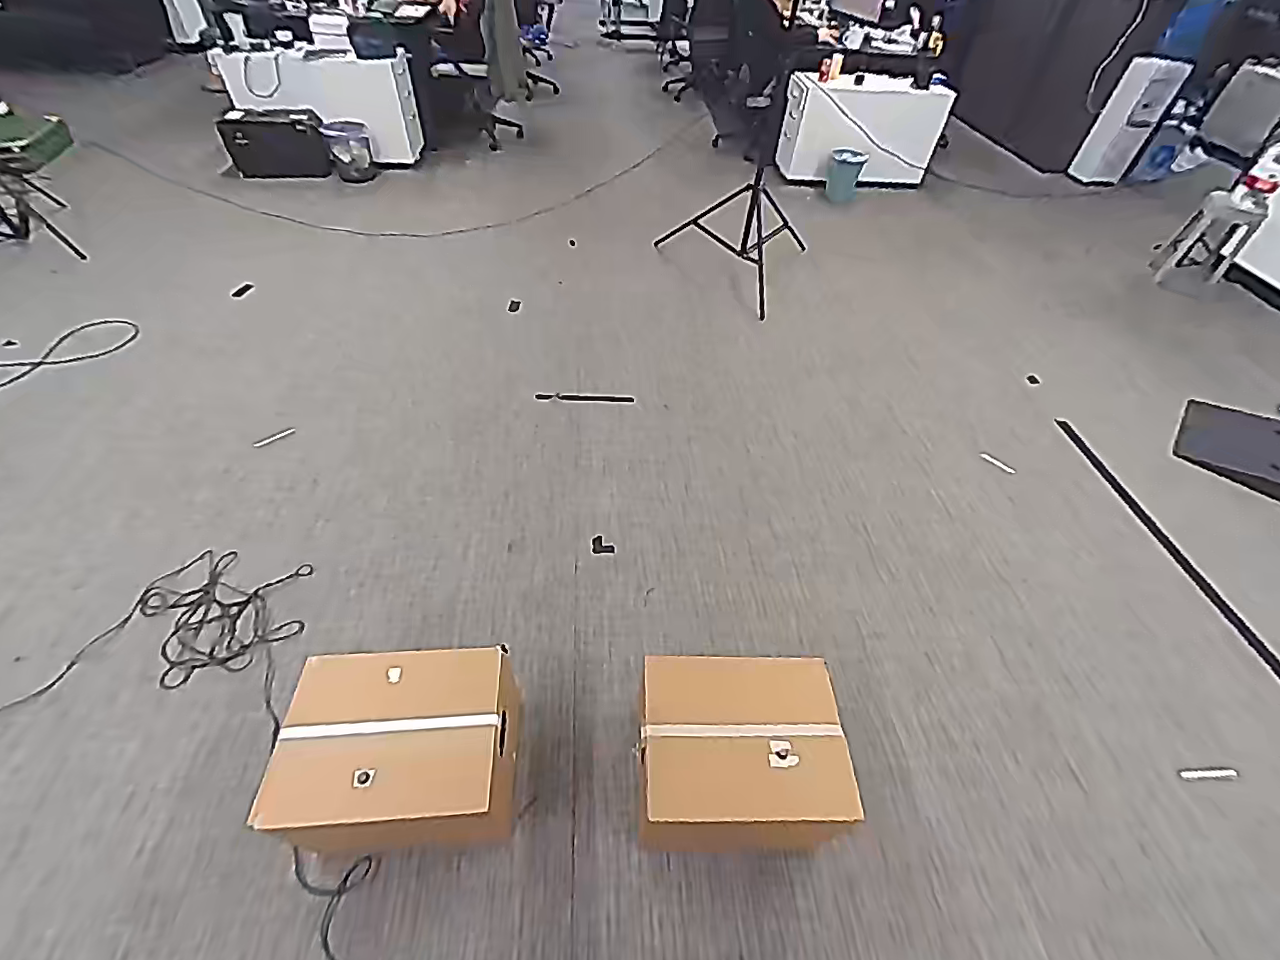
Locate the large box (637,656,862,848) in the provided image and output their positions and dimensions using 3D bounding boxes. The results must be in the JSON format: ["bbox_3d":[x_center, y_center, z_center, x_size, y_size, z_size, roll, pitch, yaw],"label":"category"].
[{"bbox_3d":[0.204,0.606,1.205,0.408,0.320,0.320,2,48,-4],"label":"large box"}]
